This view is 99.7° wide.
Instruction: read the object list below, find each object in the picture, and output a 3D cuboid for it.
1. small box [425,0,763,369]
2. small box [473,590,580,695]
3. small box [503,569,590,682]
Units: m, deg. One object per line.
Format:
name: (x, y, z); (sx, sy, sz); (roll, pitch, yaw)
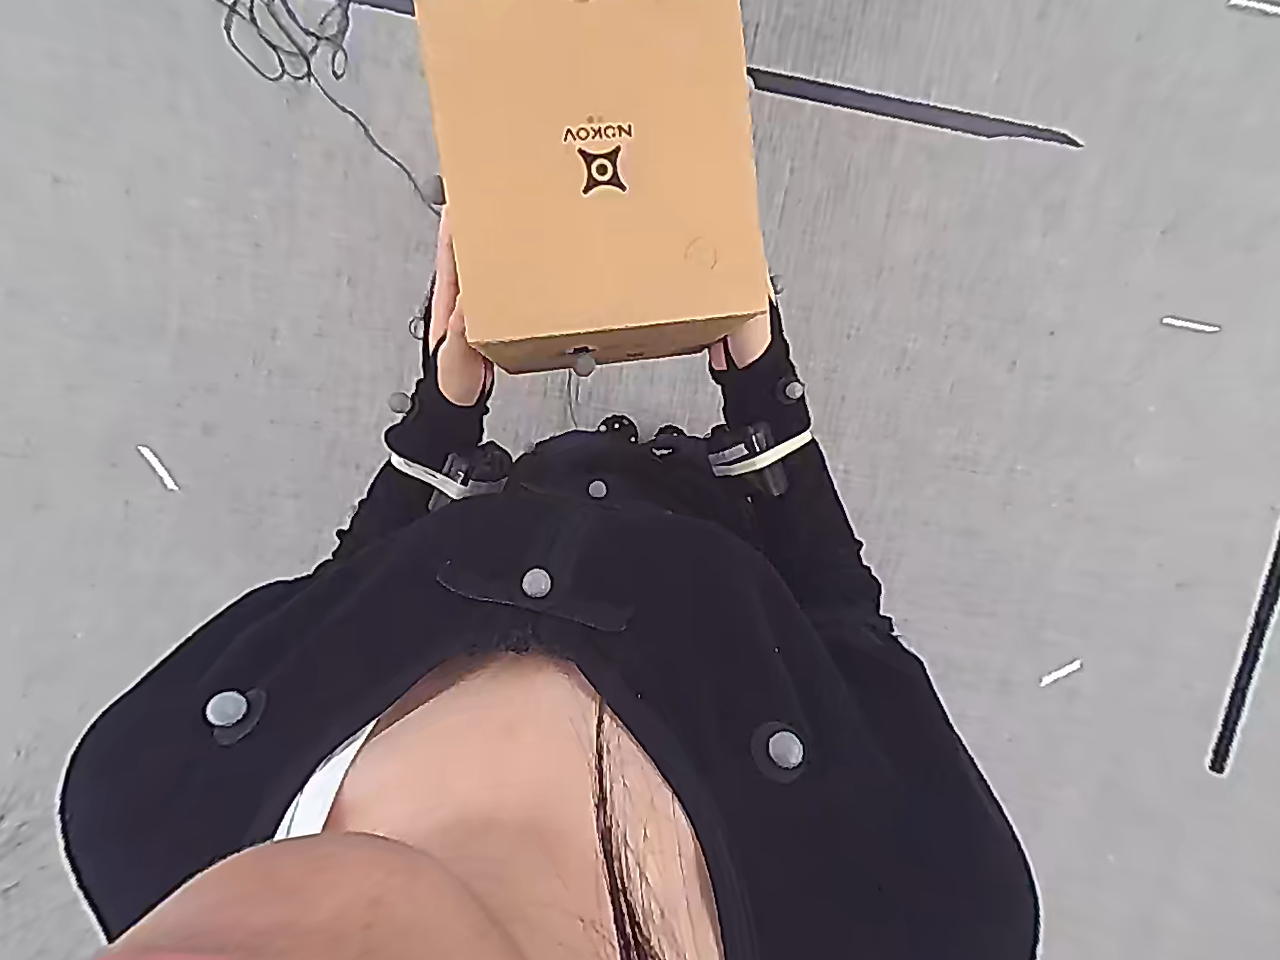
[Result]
small box: (-0.027, -0.175, 0.369); (0.168, 0.176, 0.179); (-8, 95, -5)
small box: (-0.204, 0.310, 0.982); (0.168, 0.176, 0.179); (6, 96, 0)
small box: (-0.200, 0.302, 1.143); (0.168, 0.176, 0.179); (8, 94, -1)
